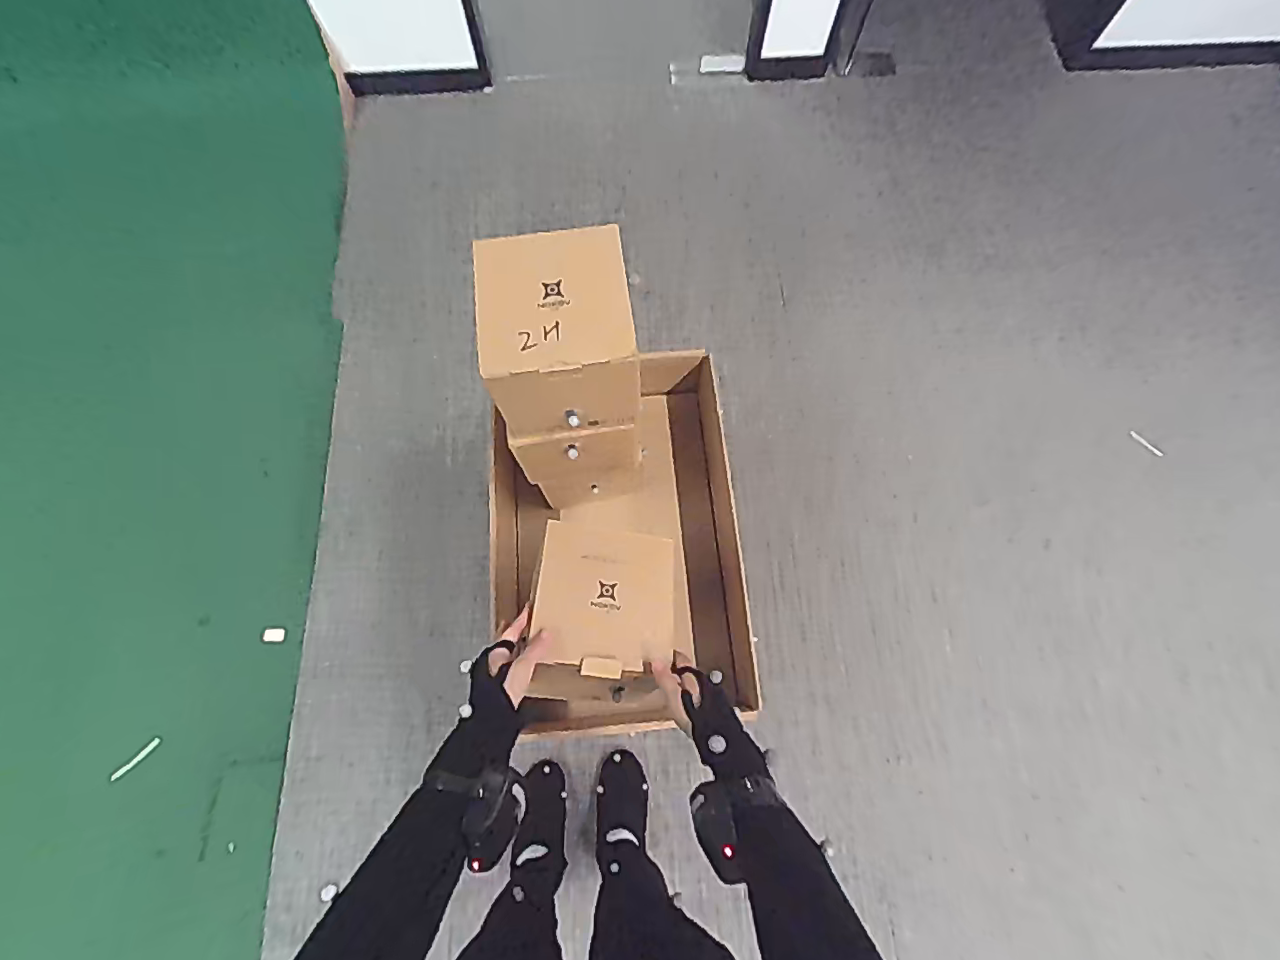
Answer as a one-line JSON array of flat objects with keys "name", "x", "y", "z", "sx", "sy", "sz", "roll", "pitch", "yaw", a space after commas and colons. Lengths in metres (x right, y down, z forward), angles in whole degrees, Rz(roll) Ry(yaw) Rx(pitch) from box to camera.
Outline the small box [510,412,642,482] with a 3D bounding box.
[{"name": "small box", "x": -0.095, "y": -0.107, "z": 0.817, "sx": 0.179, "sy": 0.176, "sz": 0.168, "roll": -9, "pitch": 72, "yaw": -2}]

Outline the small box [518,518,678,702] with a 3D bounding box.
[{"name": "small box", "x": -0.058, "y": 0.176, "z": 0.698, "sx": 0.168, "sy": 0.176, "sz": 0.179, "roll": 12, "pitch": 55, "yaw": -11}]

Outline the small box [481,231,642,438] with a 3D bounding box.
[{"name": "small box", "x": -0.090, "y": -0.170, "z": 0.664, "sx": 0.168, "sy": 0.176, "sz": 0.179, "roll": -7, "pitch": 73, "yaw": -2}]
